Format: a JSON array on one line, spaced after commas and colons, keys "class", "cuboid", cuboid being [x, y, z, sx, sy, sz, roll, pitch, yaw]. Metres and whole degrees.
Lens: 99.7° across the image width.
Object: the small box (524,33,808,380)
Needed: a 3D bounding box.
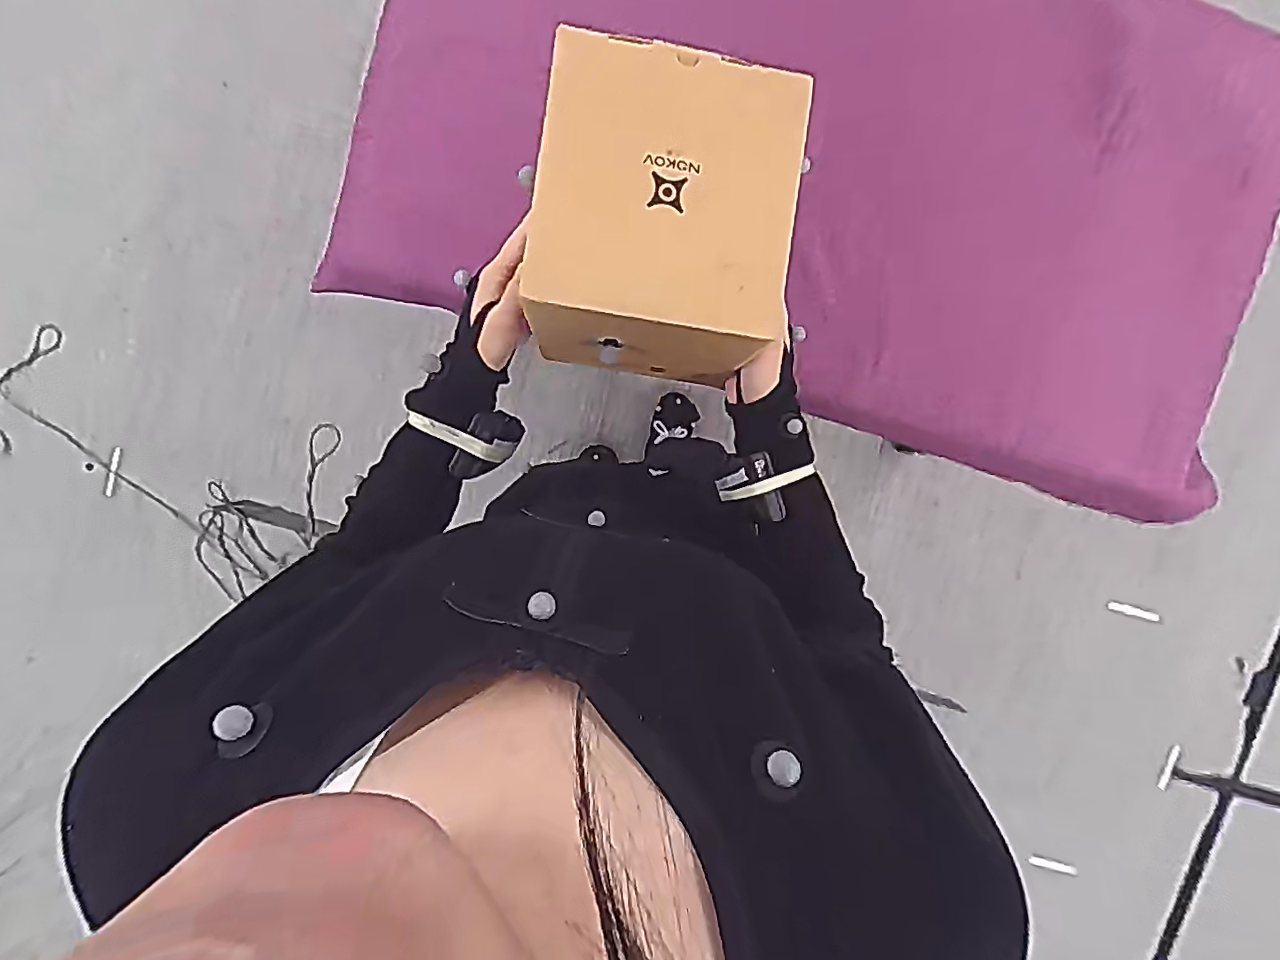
[{"class": "small box", "cuboid": [0.013, -0.186, 0.426, 0.168, 0.176, 0.179, 8, 88, -4]}]
